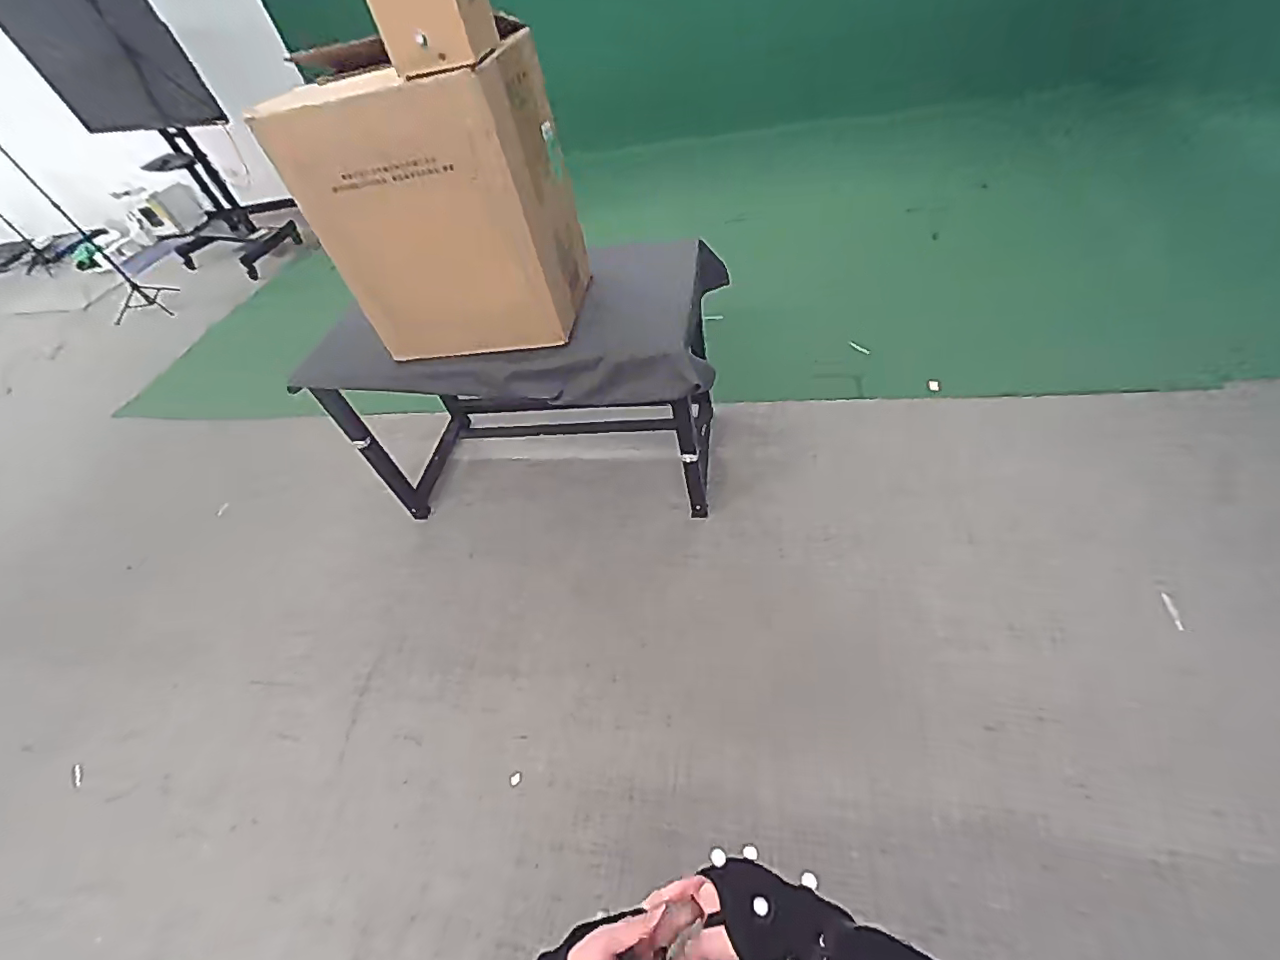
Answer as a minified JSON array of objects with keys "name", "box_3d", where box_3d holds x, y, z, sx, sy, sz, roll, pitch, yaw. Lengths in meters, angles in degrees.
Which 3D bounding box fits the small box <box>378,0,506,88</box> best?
[{"name":"small box","box_3d":[-0.376,-0.883,1.041,0.168,0.176,0.179,-2,49,11]}]
